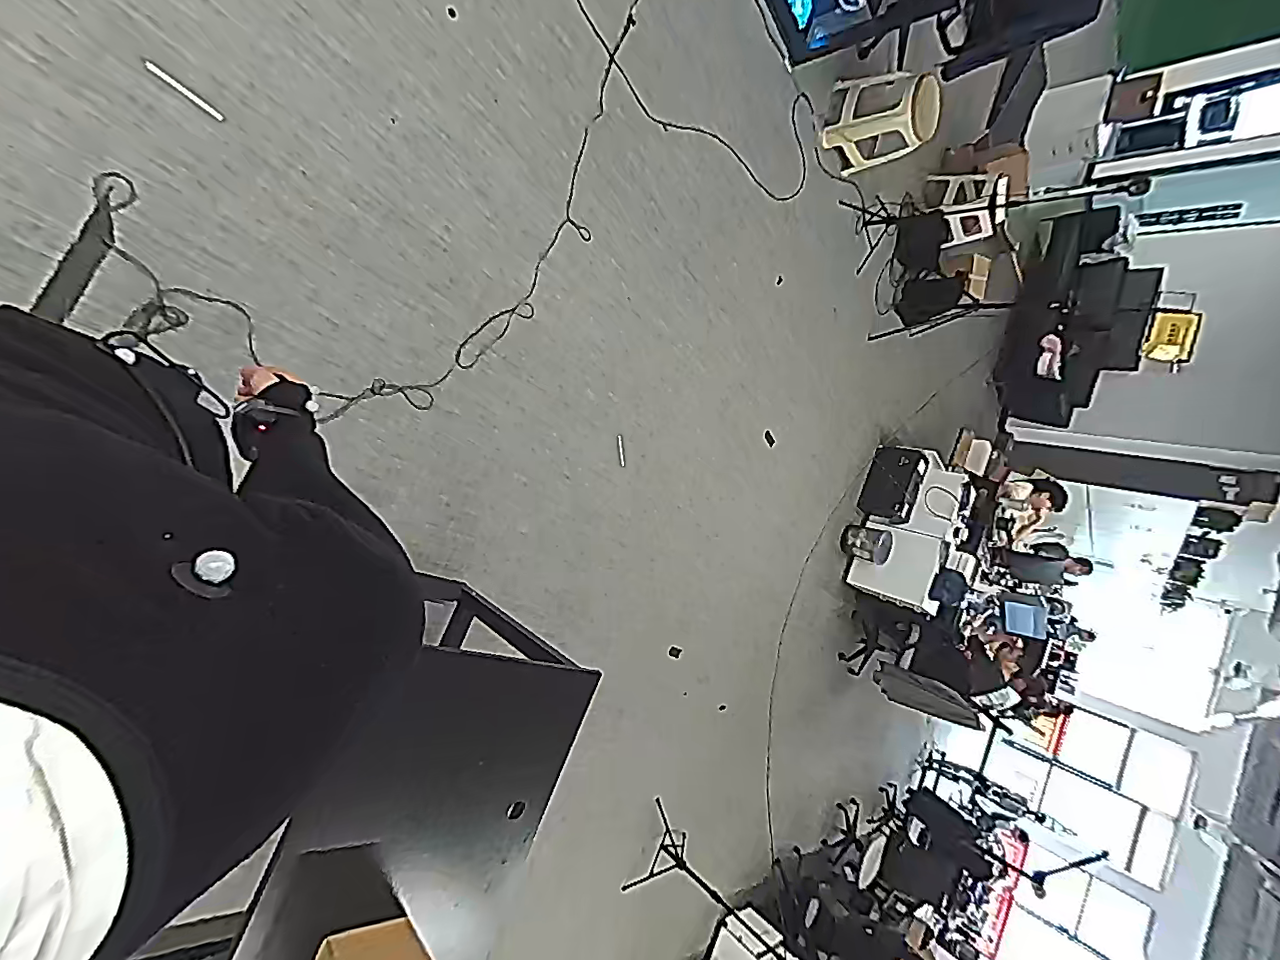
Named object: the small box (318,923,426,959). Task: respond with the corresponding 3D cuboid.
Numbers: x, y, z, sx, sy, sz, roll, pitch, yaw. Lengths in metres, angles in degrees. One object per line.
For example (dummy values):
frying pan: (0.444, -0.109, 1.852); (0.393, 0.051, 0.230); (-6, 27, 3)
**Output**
small box: (-0.505, 0.975, 1.000); (0.179, 0.176, 0.168); (29, 80, -45)
